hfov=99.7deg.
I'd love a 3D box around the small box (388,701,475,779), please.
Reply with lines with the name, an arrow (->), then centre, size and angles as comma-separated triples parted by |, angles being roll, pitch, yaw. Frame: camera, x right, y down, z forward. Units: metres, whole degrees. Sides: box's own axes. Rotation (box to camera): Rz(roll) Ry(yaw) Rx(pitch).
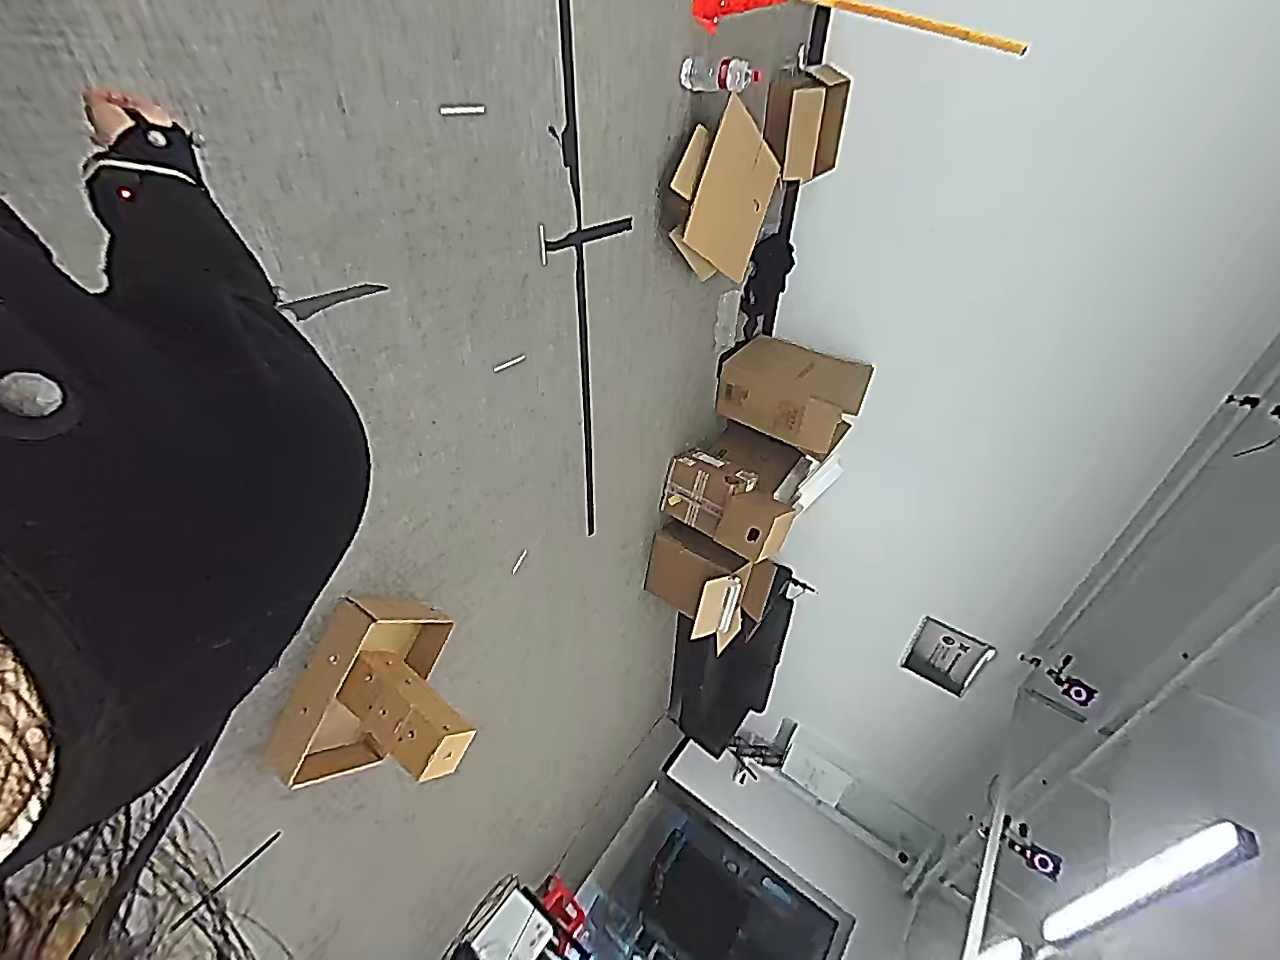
small box -> -0.706, 0.871, 1.833 | 0.168, 0.176, 0.179 | -61, 154, -4

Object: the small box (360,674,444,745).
small box -> -0.837, 0.799, 1.898 | 0.168, 0.176, 0.179 | -61, 153, -5
